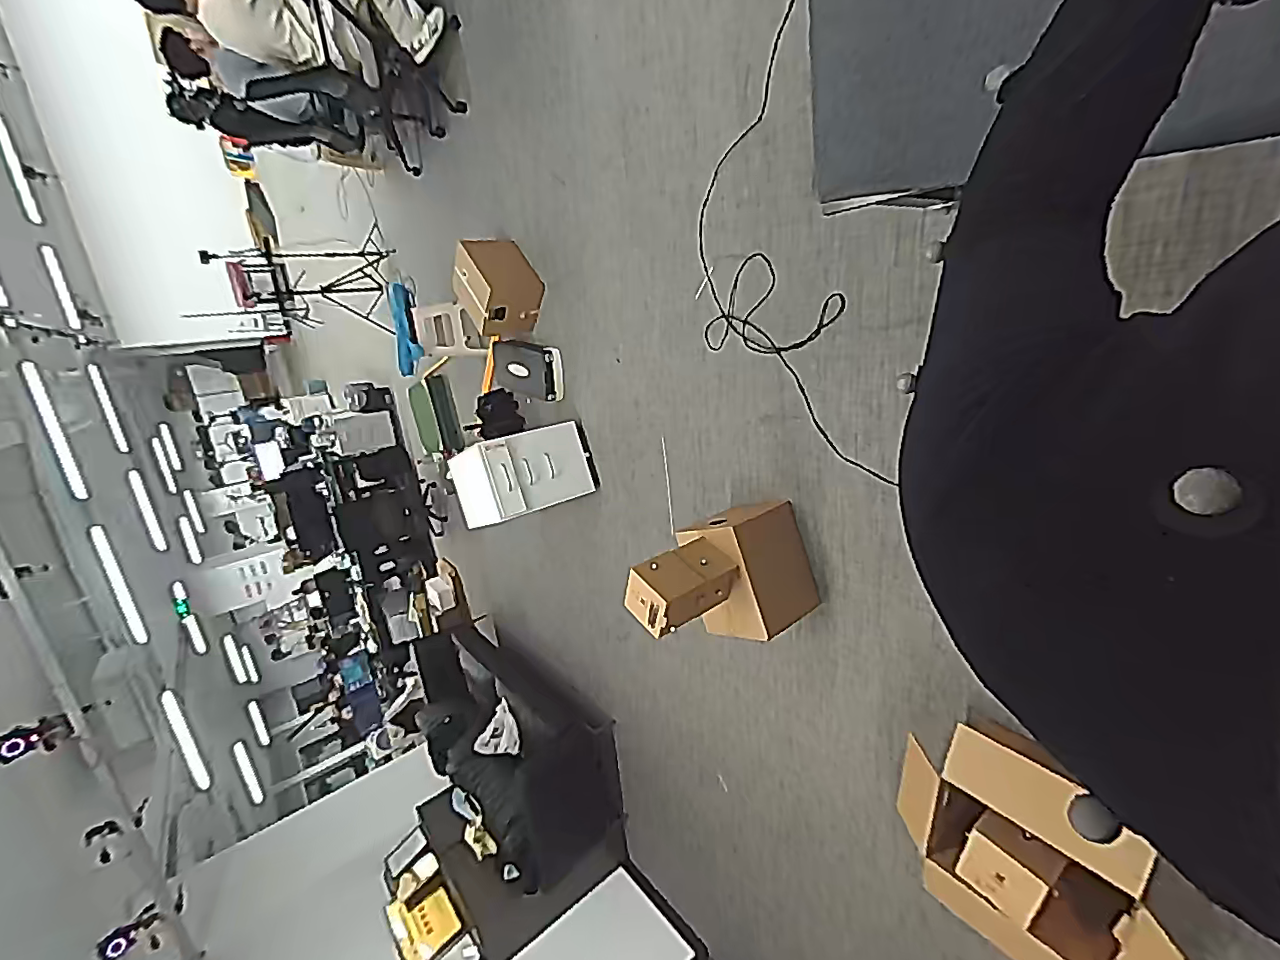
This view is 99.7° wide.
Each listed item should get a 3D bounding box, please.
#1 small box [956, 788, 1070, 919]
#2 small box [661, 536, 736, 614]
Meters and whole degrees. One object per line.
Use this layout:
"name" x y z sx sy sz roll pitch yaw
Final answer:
"small box" 0.930 0.919 1.347 0.168 0.176 0.179 30 128 47
"small box" 0.199 0.315 1.836 0.179 0.176 0.168 37 132 35
